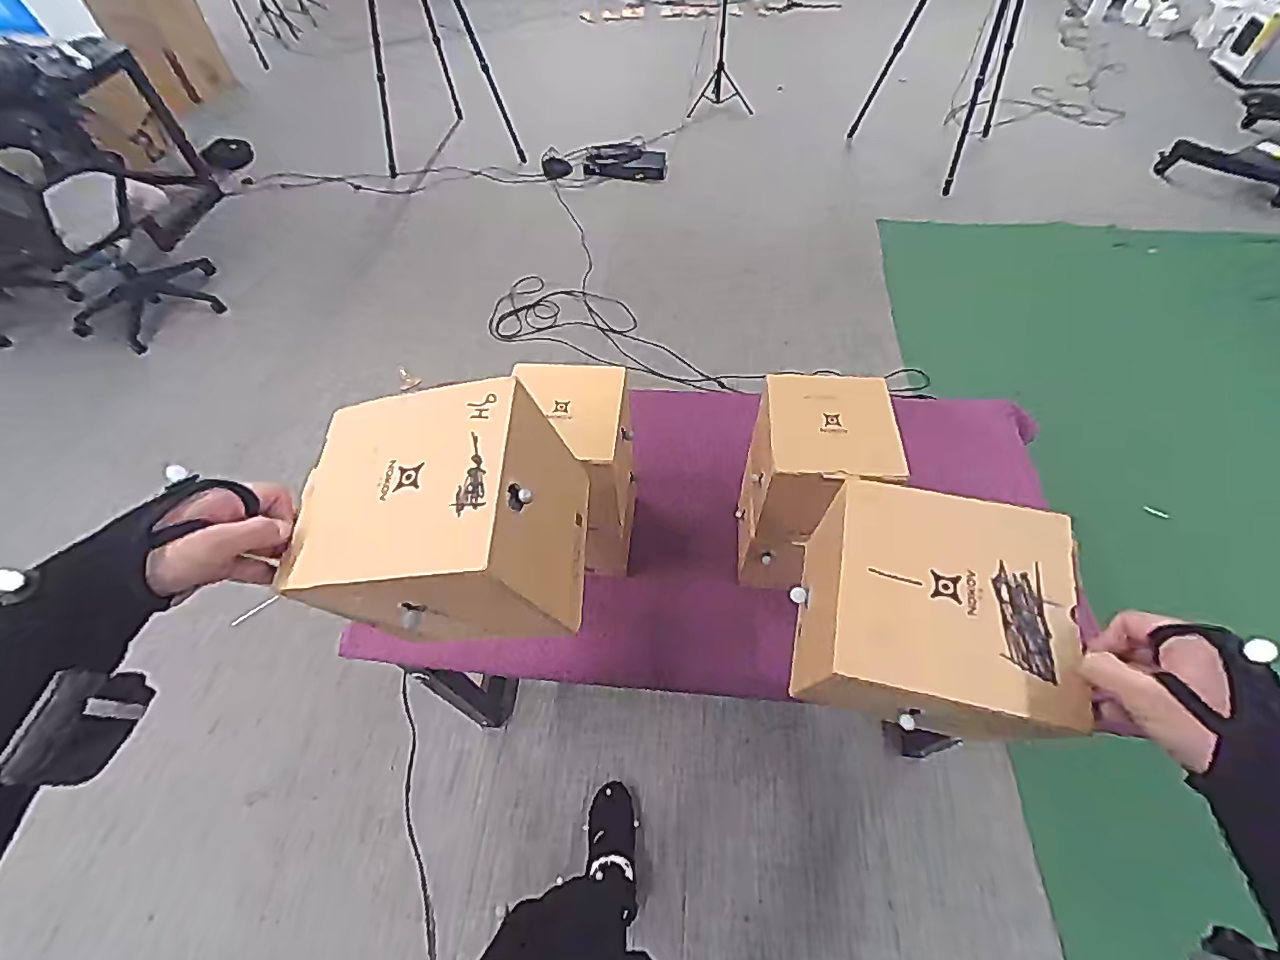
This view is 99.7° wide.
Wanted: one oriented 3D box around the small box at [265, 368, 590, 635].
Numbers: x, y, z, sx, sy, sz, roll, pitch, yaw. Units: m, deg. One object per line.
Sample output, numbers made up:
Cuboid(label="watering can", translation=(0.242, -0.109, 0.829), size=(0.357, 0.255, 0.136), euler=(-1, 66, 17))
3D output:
Cuboid(label="small box", translation=(-0.158, 0.031, 0.466), size=(0.179, 0.176, 0.168), euler=(-6, 59, 14))

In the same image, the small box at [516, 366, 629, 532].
Cuboid(label="small box", translation=(-0.105, -0.043, 0.792), size=(0.168, 0.176, 0.179), euler=(3, 55, 3))

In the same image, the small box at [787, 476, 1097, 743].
Cuboid(label="small box", translation=(0.240, 0.120, 0.471), size=(0.179, 0.176, 0.168), euler=(11, 63, 10))

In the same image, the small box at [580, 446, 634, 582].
Cuboid(label="small box", translation=(-0.101, 0.053, 0.922), size=(0.168, 0.176, 0.179), euler=(4, 55, 5))

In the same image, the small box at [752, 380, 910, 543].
Cuboid(label="small box", translation=(0.253, -0.018, 0.762), size=(0.168, 0.176, 0.179), euler=(3, 53, 4))
